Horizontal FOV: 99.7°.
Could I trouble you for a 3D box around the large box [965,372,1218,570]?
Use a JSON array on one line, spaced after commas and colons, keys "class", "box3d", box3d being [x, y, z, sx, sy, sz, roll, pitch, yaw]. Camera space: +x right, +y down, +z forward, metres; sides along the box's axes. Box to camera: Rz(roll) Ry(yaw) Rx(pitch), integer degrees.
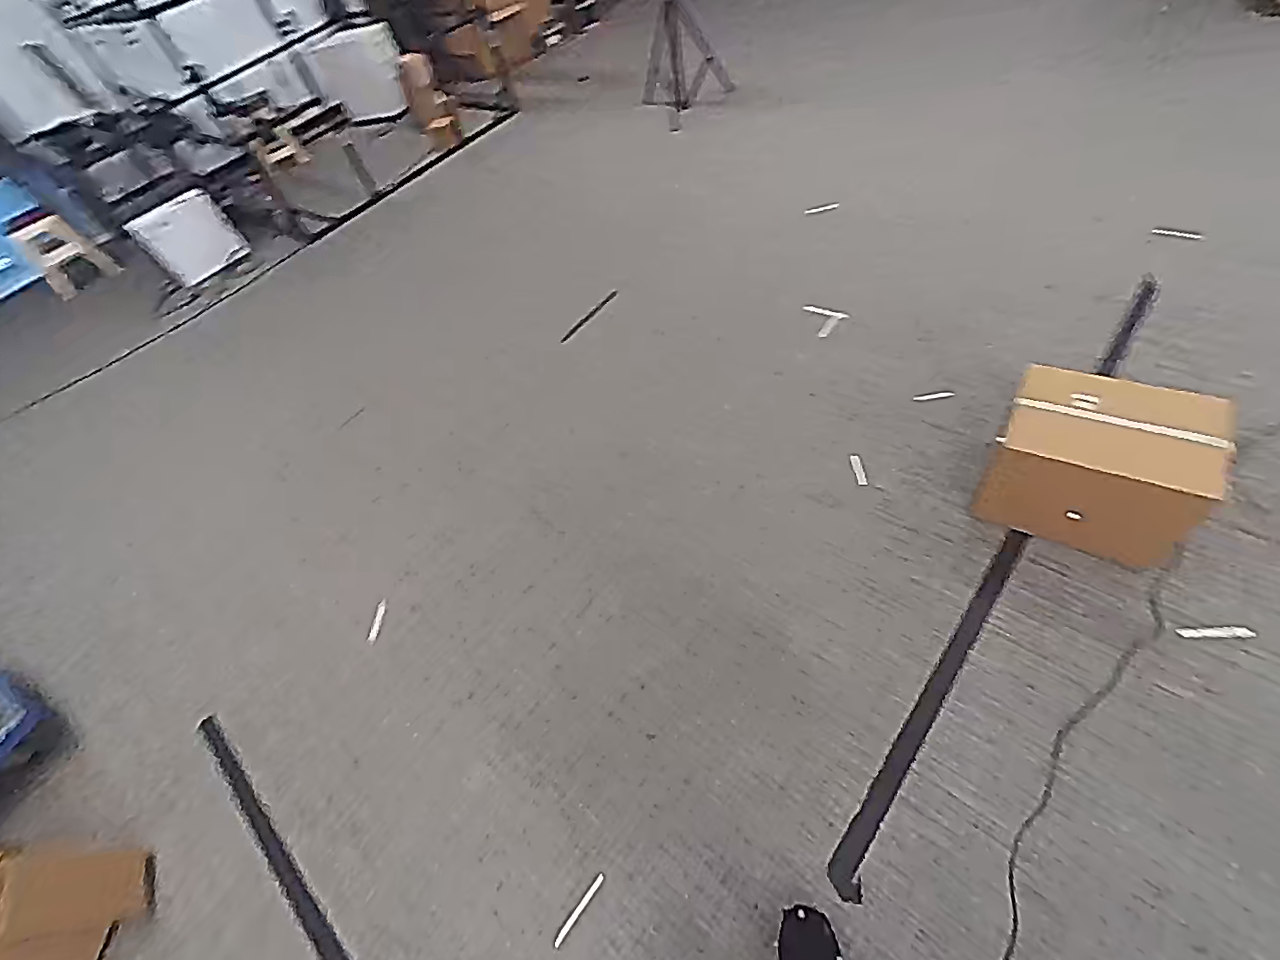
[{"class": "large box", "box3d": [1.121, -0.028, 1.378, 0.408, 0.320, 0.320, 20, 59, 29]}]
